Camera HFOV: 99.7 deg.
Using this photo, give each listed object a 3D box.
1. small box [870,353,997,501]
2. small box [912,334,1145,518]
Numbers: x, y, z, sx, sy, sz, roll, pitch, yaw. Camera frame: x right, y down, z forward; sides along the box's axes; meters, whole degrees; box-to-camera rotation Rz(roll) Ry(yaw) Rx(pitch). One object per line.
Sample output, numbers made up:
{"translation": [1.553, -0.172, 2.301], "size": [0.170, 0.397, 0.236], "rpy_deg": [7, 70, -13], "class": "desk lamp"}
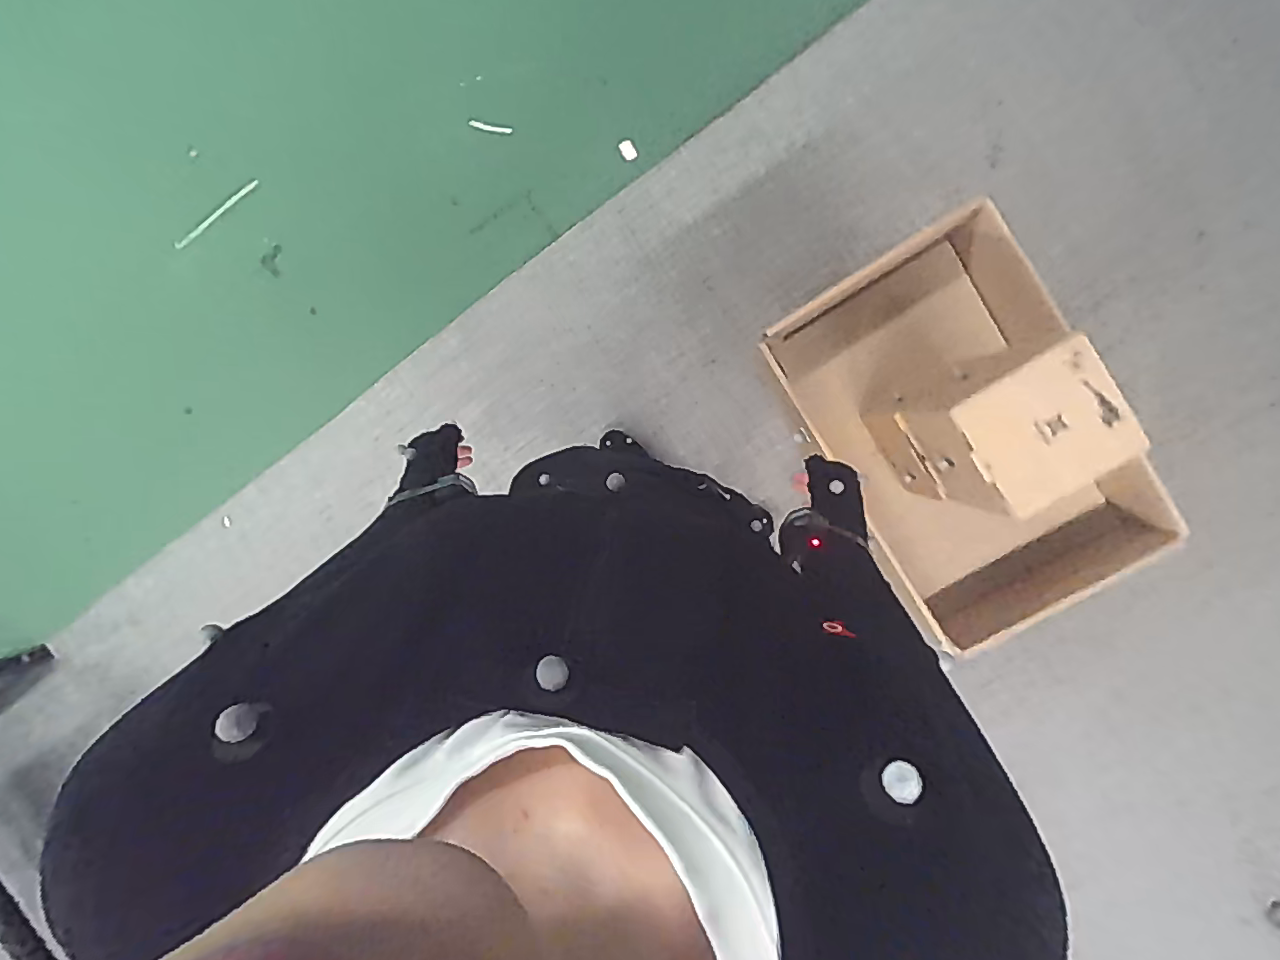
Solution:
{"translation": [0.510, -0.084, 0.901], "size": [0.179, 0.176, 0.168], "rpy_deg": [-33, 92, 6], "class": "small box"}
{"translation": [0.502, -0.071, 0.737], "size": [0.179, 0.176, 0.168], "rpy_deg": [-32, 92, 9], "class": "small box"}
